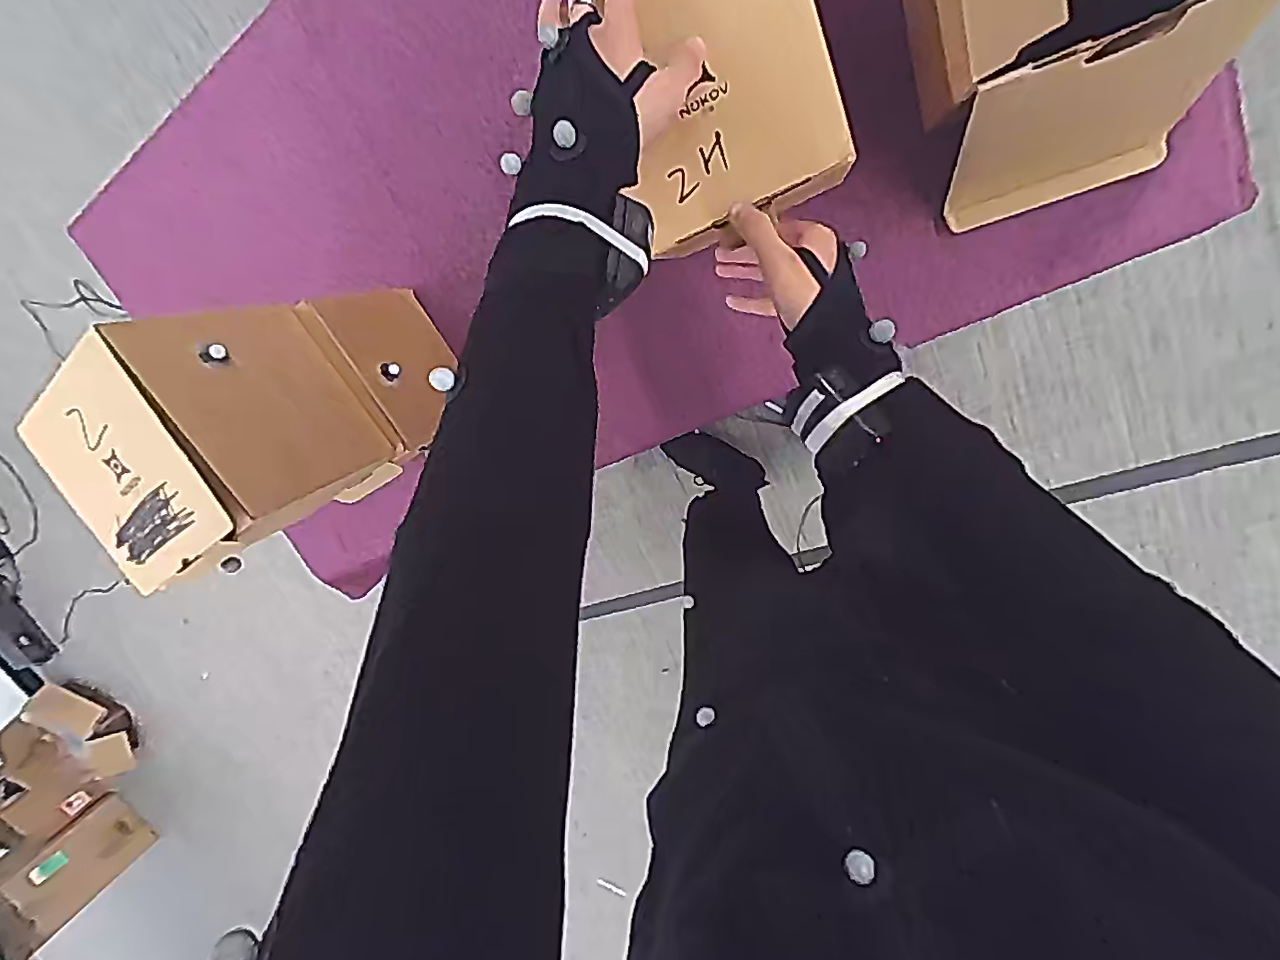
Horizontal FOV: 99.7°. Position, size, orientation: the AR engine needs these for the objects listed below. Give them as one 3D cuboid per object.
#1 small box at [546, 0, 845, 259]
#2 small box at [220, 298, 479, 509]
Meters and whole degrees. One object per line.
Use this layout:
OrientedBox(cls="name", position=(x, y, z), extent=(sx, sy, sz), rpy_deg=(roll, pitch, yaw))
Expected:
OrientedBox(cls="small box", position=(0.056, -0.298, 0.443), extent=(0.168, 0.176, 0.179), rpy_deg=(-17, 107, 23))
OrientedBox(cls="small box", position=(-0.329, -0.098, 0.646), extent=(0.168, 0.176, 0.179), rpy_deg=(-25, 104, 23))
